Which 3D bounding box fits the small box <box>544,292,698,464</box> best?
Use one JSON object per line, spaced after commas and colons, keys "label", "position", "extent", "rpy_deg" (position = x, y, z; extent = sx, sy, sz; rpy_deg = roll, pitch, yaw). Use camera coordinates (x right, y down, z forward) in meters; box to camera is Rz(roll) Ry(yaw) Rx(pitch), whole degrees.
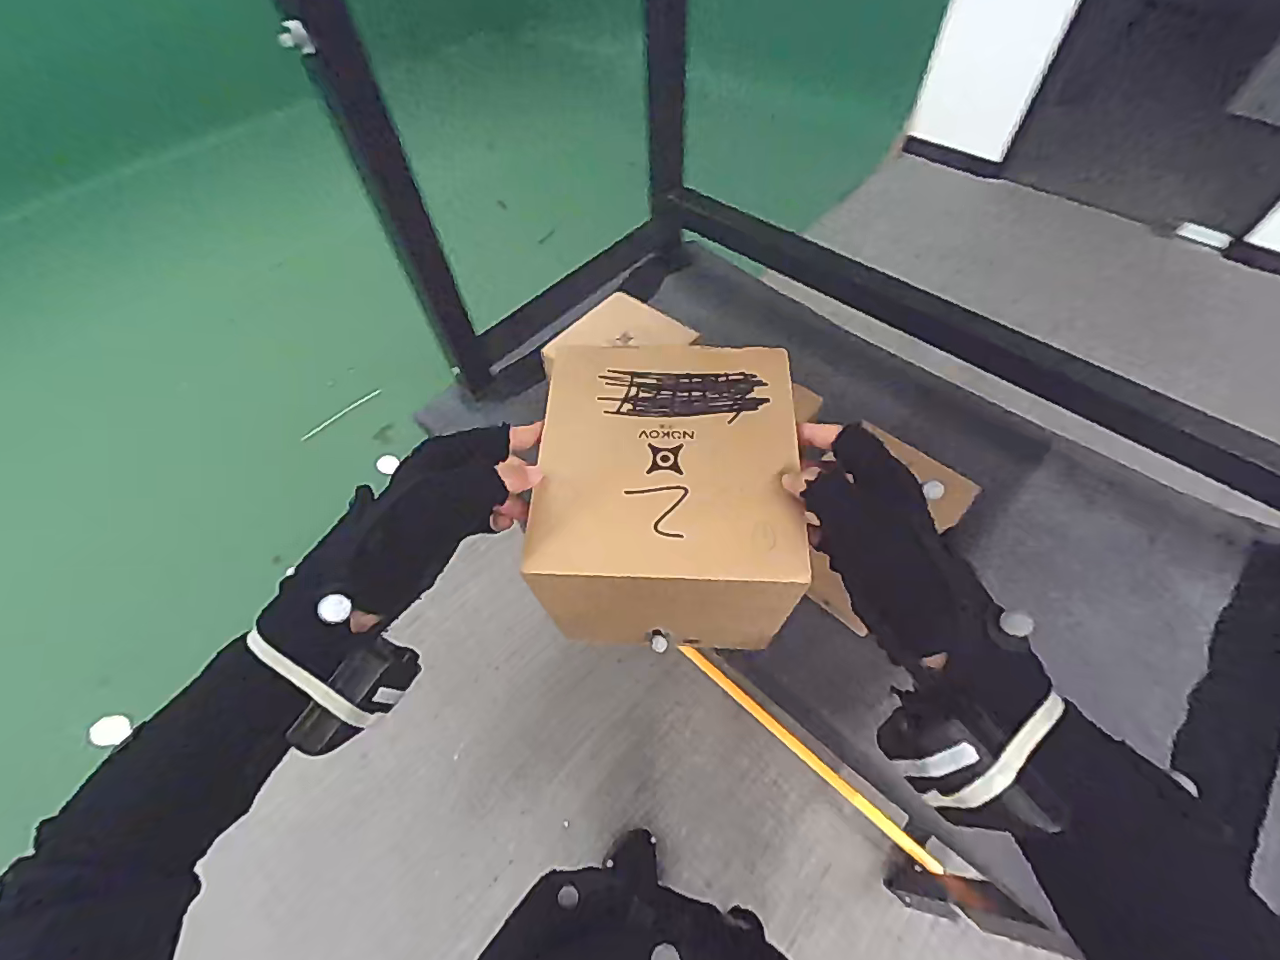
{"label": "small box", "position": [-0.027, -0.162, 0.871], "extent": [0.168, 0.176, 0.179], "rpy_deg": [35, 65, 22]}
